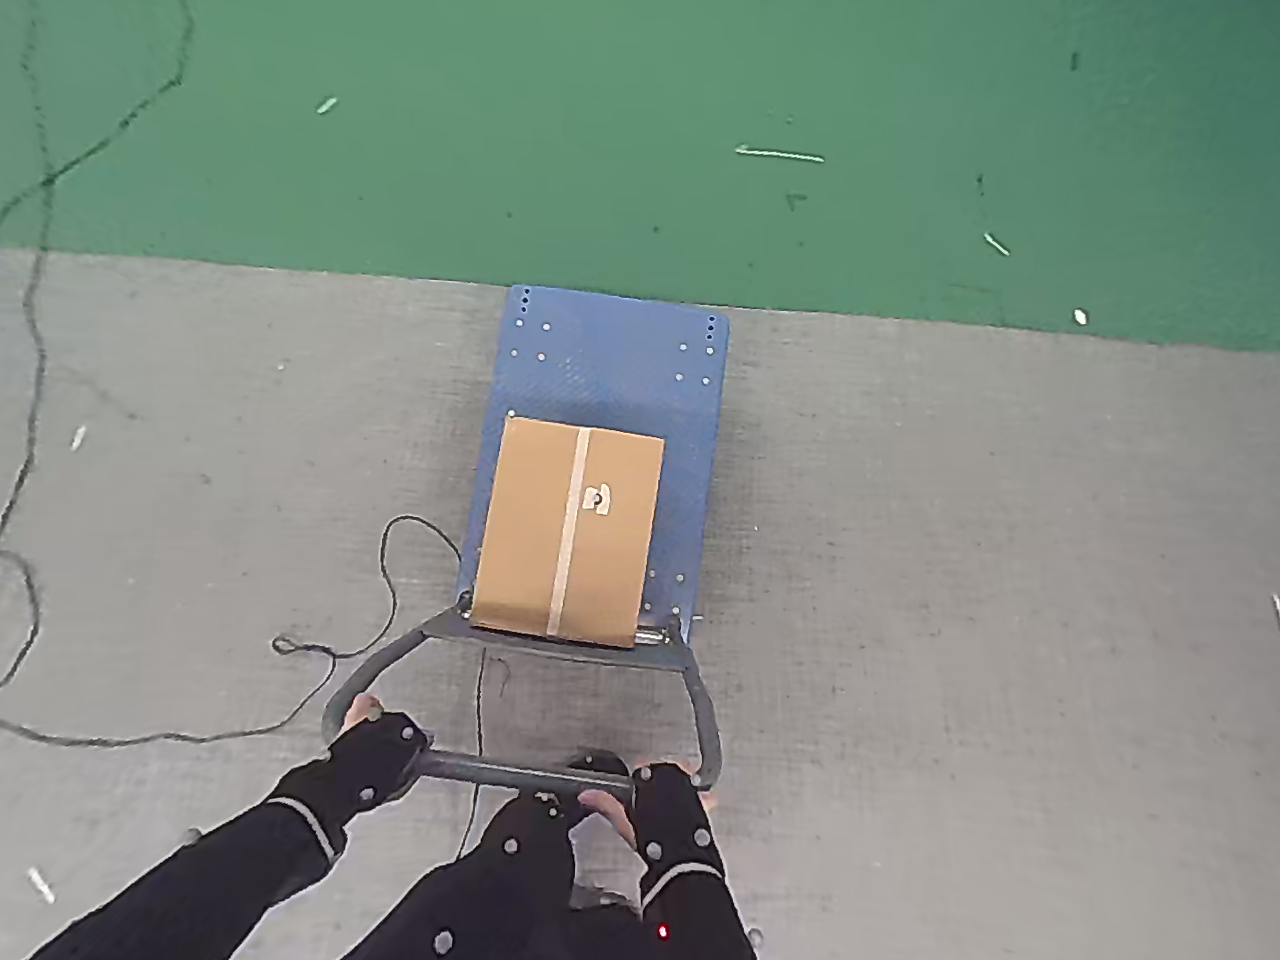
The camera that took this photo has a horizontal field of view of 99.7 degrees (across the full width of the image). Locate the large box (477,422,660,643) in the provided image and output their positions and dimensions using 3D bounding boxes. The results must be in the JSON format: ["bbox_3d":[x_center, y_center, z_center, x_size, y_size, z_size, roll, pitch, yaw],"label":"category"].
[{"bbox_3d":[-0.138,0.118,1.198,0.320,0.320,0.408,8,82,-1],"label":"large box"}]
